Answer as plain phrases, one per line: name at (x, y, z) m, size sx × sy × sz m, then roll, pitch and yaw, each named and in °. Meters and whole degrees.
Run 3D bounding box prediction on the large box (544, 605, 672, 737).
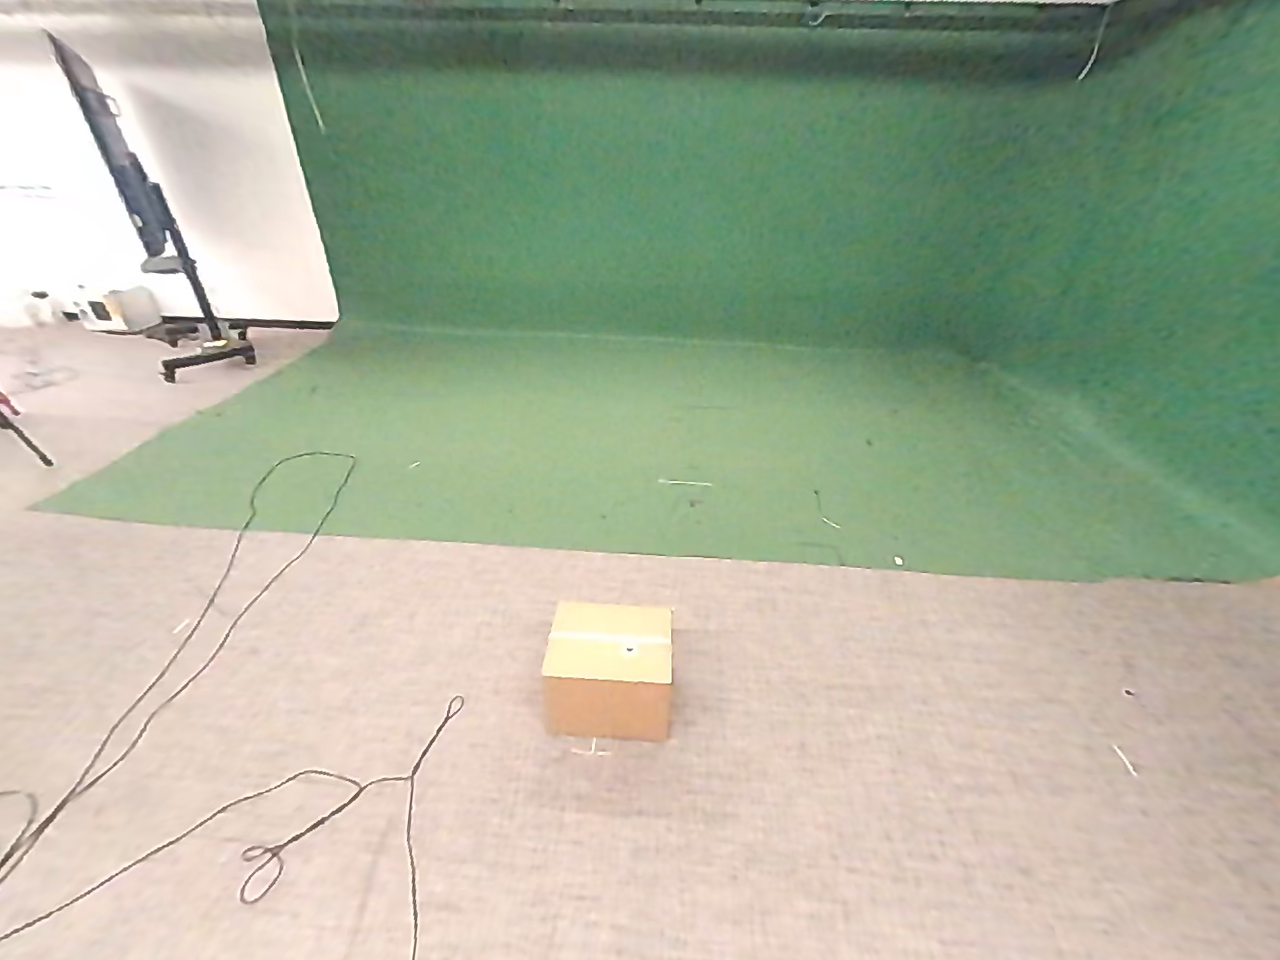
large box at (-0.103, 0.656, 1.865) m, size 0.408 × 0.320 × 0.320 m, roll 3°, pitch 32°, yaw 1°
